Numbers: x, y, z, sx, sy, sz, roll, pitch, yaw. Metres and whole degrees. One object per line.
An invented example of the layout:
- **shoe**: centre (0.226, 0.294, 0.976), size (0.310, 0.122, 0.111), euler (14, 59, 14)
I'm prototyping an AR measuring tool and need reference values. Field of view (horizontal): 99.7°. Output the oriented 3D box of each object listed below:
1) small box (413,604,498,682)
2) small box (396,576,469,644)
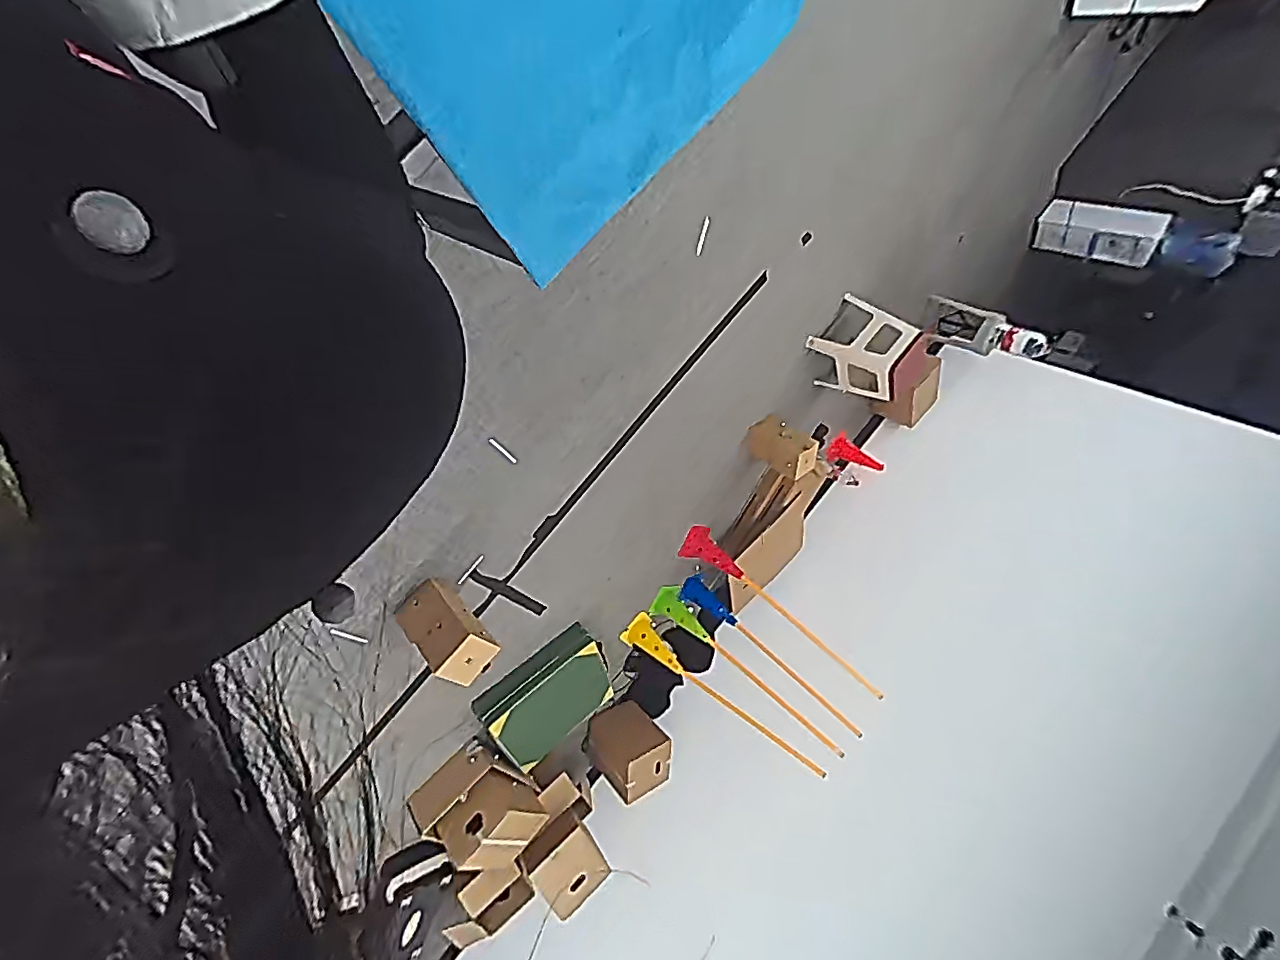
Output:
- **small box**: centre (-0.621, 0.543, 1.816), size (0.168, 0.176, 0.179), euler (-48, 142, -11)
- **small box**: centre (-0.733, 0.477, 1.914), size (0.179, 0.176, 0.168), euler (-46, 144, -9)
